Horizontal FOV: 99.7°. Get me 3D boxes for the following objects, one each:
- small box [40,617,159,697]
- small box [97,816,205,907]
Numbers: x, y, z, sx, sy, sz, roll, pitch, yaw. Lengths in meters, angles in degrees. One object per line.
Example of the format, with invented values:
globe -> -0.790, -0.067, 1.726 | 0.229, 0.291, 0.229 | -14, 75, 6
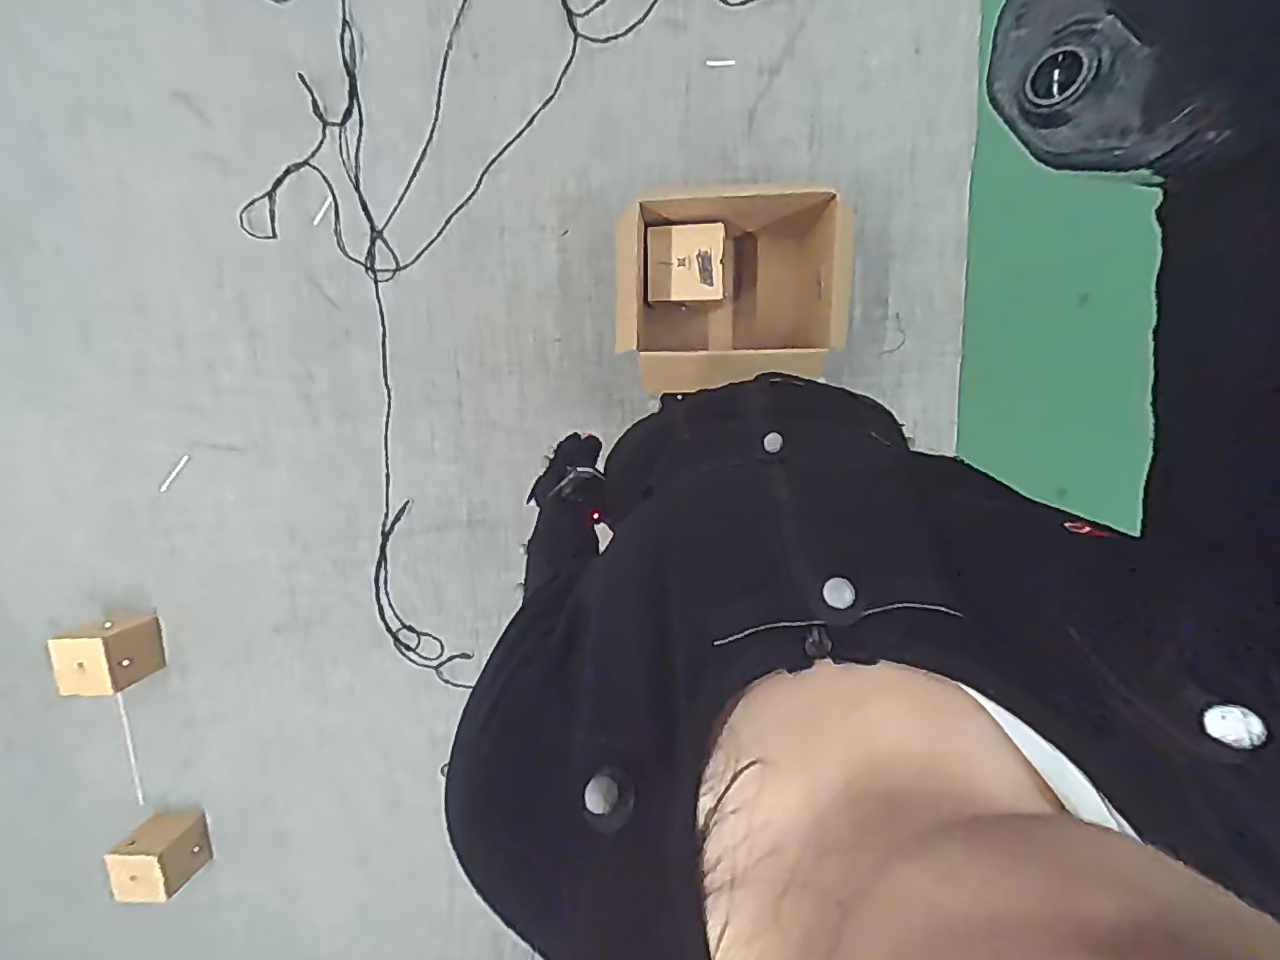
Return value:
small box -> -1.571, 0.511, 1.584 | 0.168, 0.176, 0.179 | -2, 100, 3
small box -> -1.522, 1.186, 1.691 | 0.179, 0.176, 0.168 | -2, 99, 4
